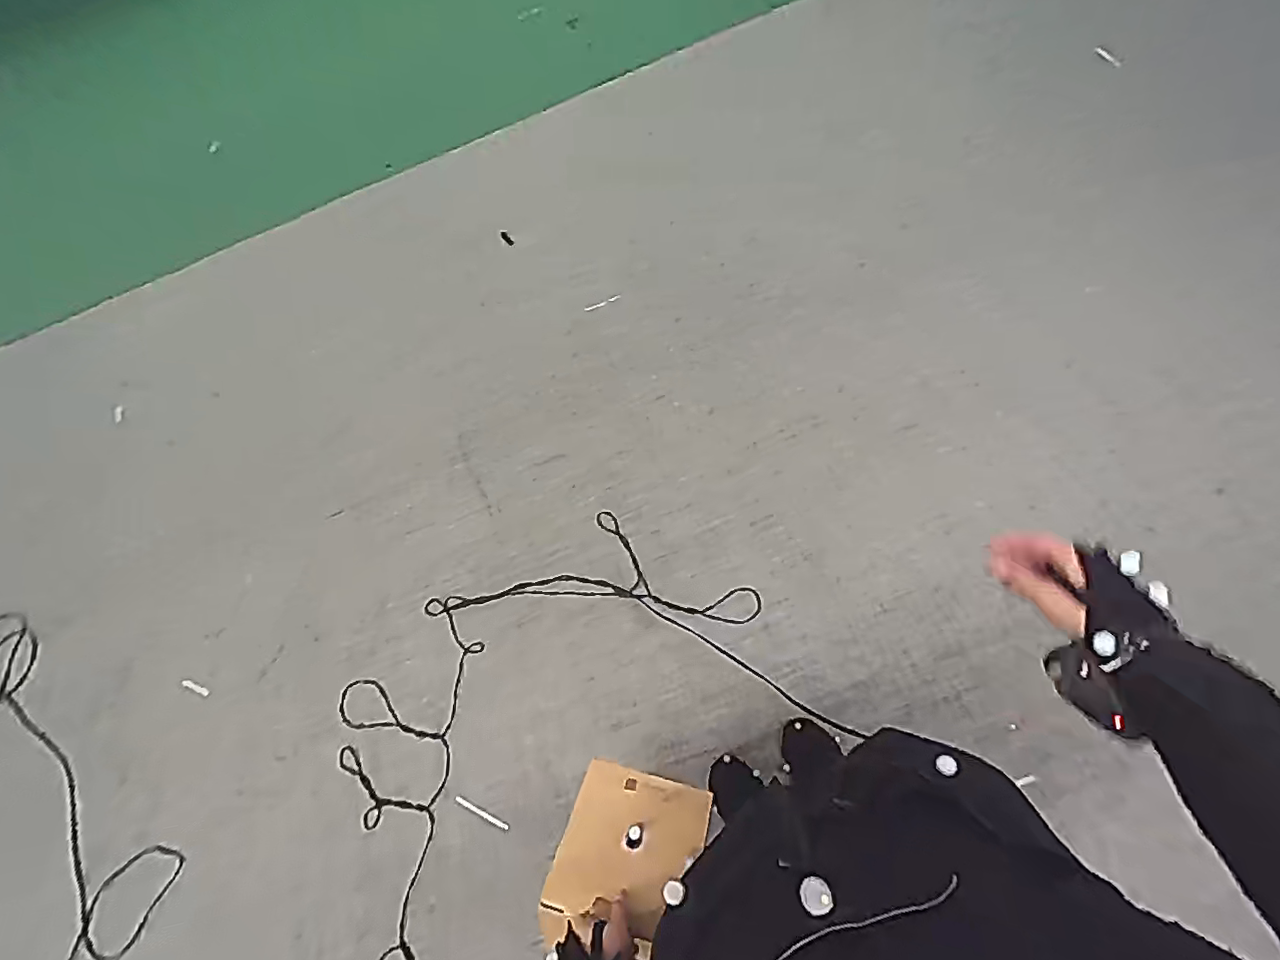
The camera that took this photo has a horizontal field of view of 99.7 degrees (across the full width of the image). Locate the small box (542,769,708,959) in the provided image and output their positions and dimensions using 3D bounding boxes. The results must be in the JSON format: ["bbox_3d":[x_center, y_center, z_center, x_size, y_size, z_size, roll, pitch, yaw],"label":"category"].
[{"bbox_3d":[-0.011,0.498,0.678,0.168,0.179,0.176,9,34,12],"label":"small box"}]
